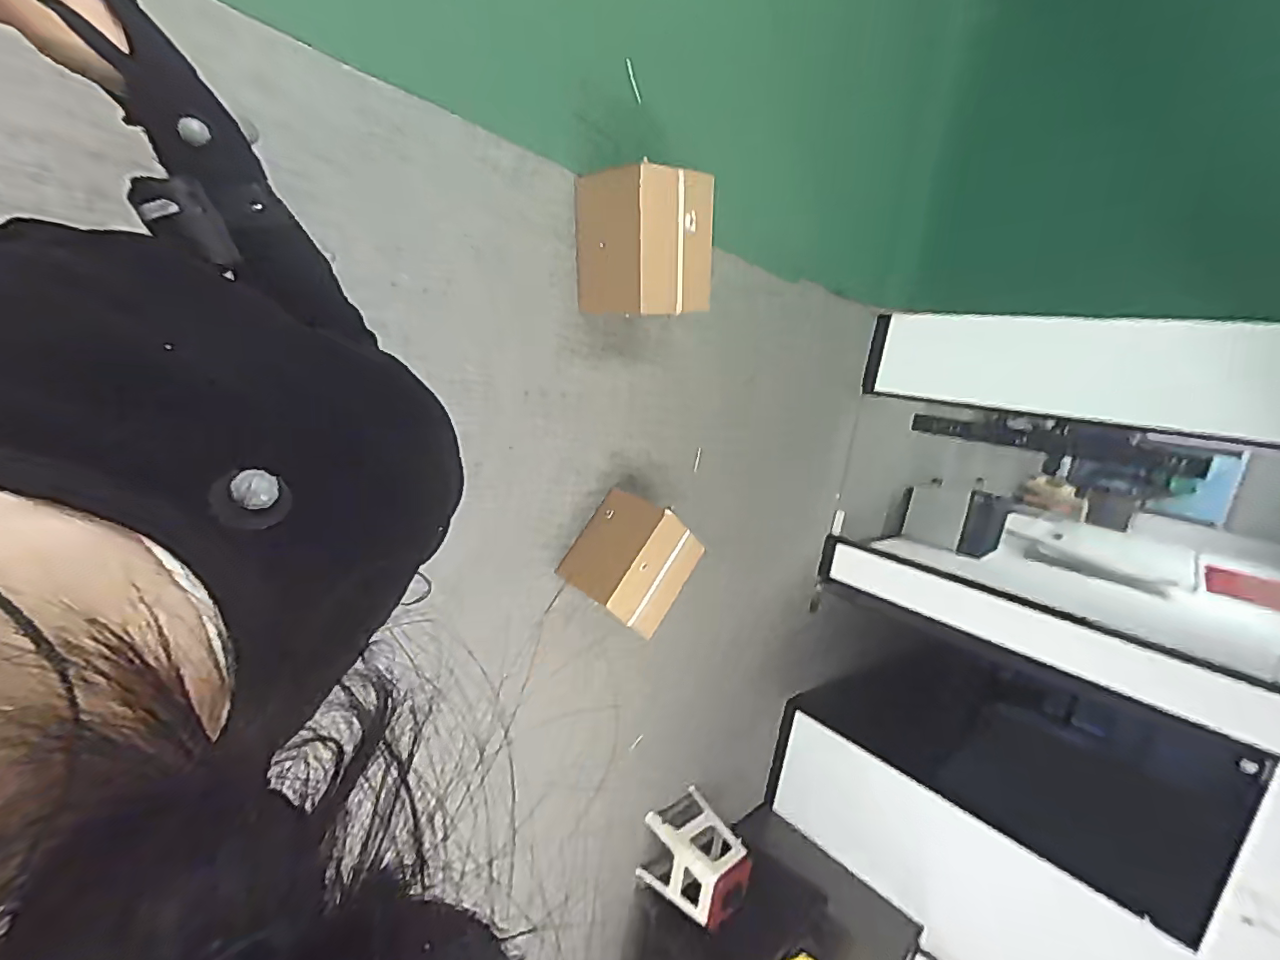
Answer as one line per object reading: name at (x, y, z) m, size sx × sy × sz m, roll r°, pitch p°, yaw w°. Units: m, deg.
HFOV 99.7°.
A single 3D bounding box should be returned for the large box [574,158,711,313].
large box at (0.008, -0.752, 1.722) m, size 0.320 × 0.320 × 0.408 m, roll -18°, pitch 115°, yaw -40°
